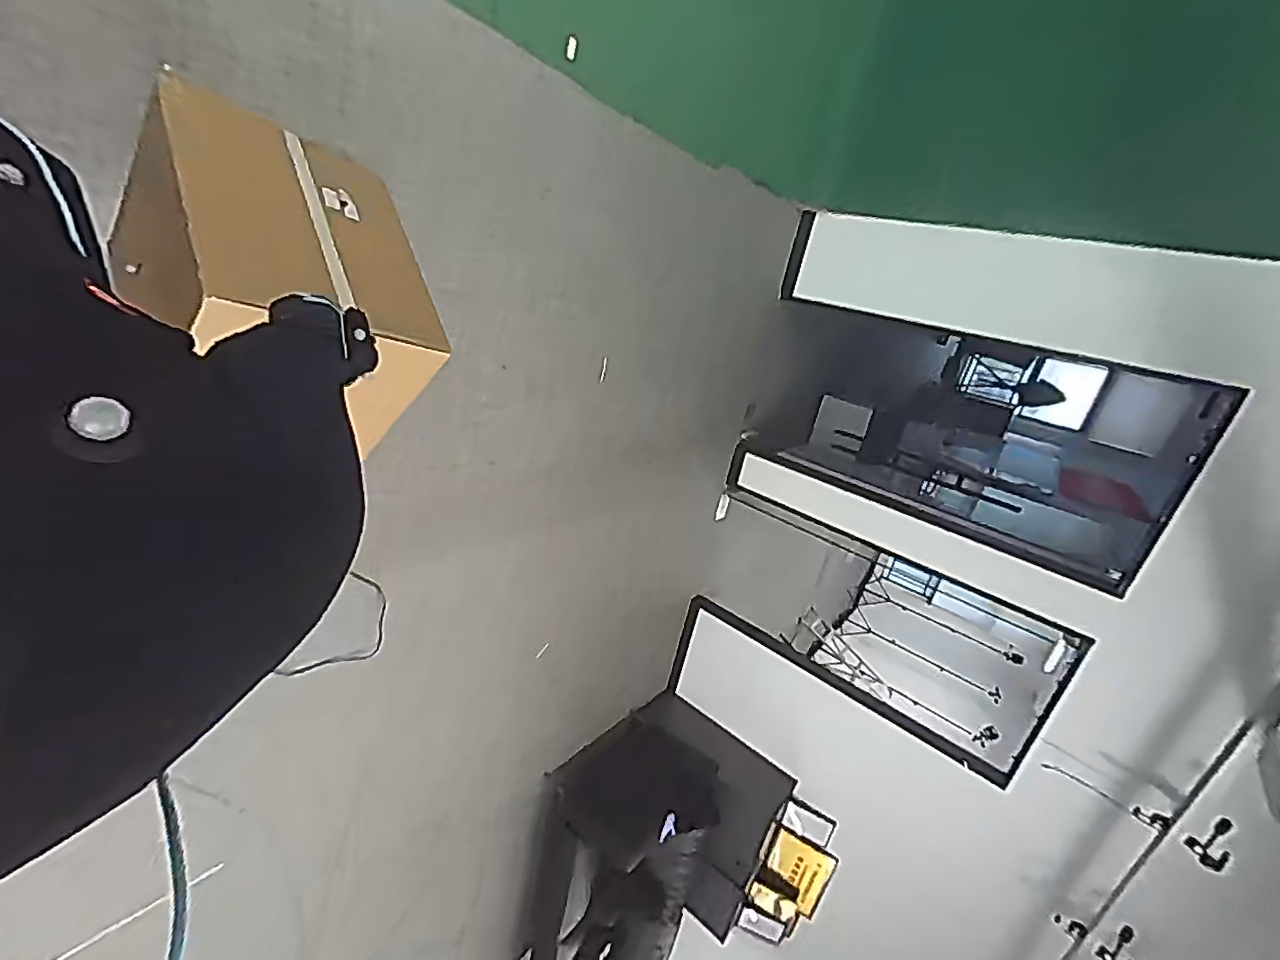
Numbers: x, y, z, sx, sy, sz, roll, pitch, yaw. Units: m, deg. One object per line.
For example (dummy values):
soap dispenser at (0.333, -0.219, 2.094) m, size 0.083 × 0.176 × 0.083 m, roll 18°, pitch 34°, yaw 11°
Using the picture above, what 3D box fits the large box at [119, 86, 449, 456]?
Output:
large box at (-0.573, -0.285, 0.861) m, size 0.320 × 0.408 × 0.320 m, roll -38°, pitch 158°, yaw 29°
